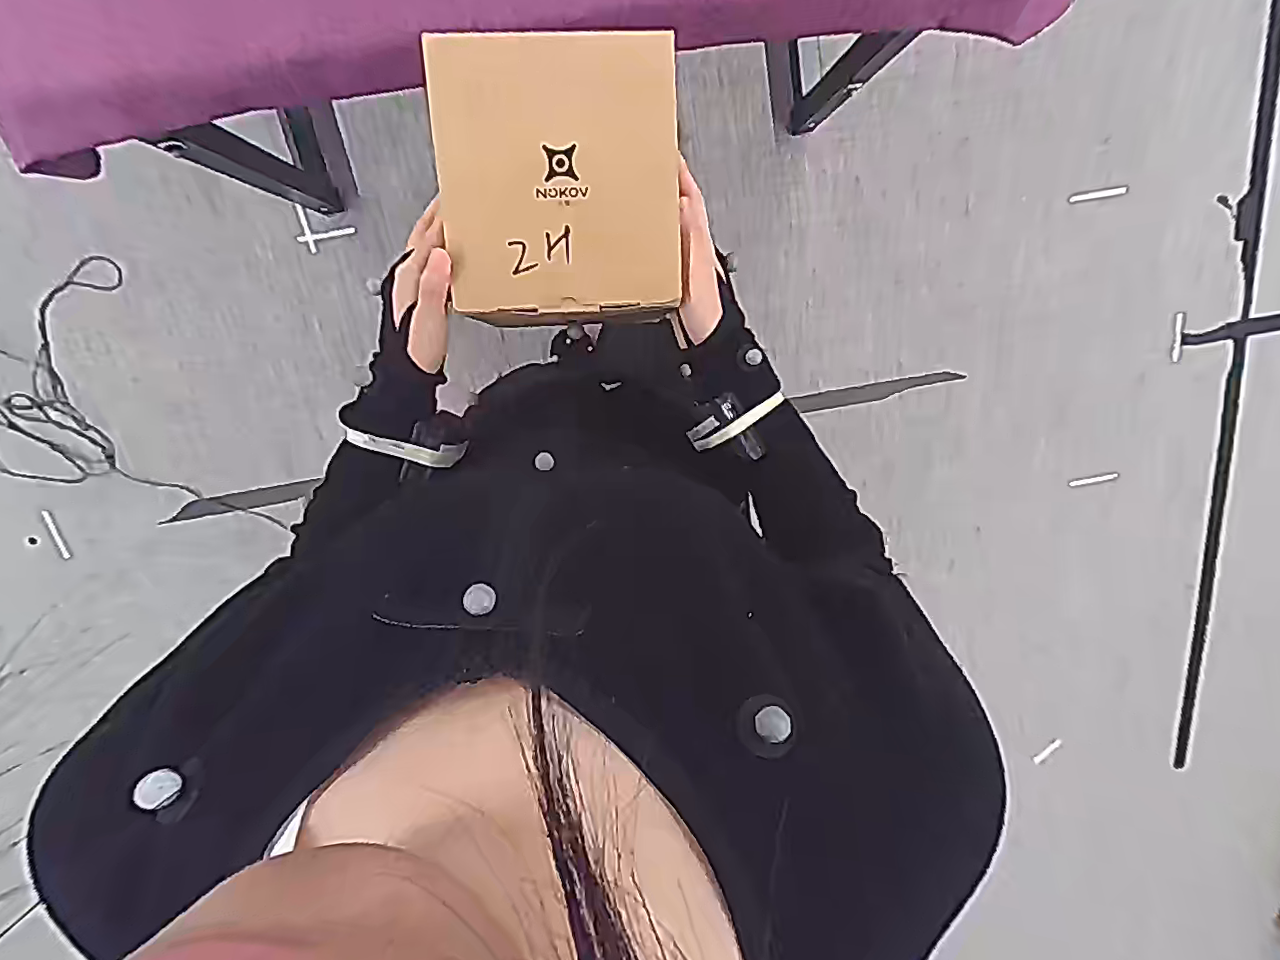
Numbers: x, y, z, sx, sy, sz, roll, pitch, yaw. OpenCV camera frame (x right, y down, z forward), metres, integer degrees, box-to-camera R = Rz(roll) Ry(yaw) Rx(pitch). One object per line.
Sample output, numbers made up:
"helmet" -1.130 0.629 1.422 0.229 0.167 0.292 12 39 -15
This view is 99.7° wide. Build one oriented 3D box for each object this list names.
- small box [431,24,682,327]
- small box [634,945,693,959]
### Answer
"small box" -0.058 -0.227 0.447 0.168 0.176 0.179 -3 101 -3
"small box" 0.084 1.490 1.552 0.179 0.176 0.168 -12 105 -1
